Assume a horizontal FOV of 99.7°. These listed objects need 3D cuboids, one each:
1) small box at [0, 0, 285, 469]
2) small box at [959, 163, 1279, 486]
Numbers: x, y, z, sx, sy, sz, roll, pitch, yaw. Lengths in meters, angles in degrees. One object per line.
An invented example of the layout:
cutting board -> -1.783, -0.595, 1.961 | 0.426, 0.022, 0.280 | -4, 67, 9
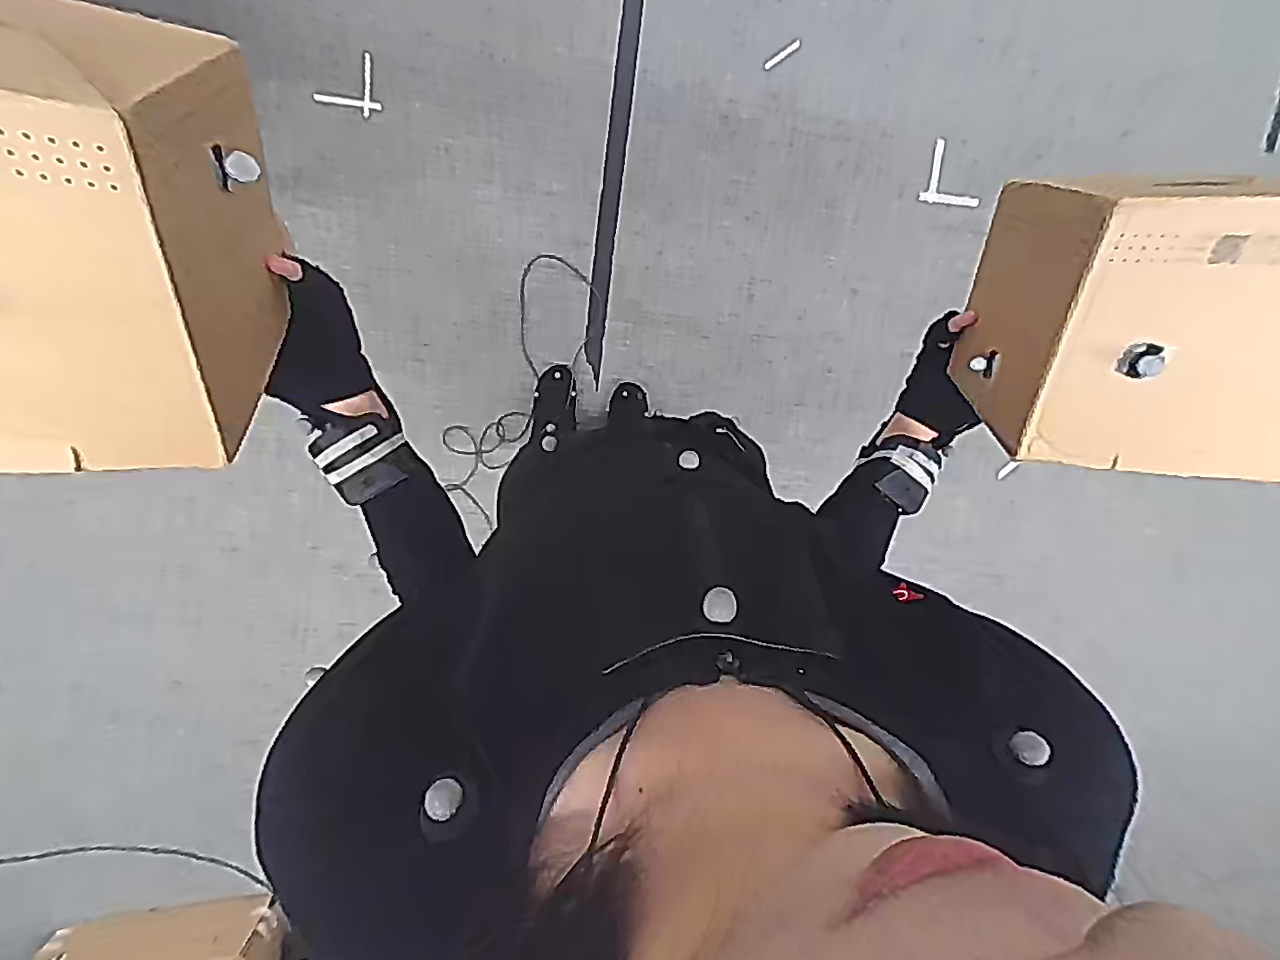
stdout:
small box -> -0.288, -0.123, 0.251 | 0.168, 0.179, 0.176 | 1, 132, -21
small box -> 0.354, -0.116, 0.372 | 0.168, 0.179, 0.176 | 7, 123, 10
